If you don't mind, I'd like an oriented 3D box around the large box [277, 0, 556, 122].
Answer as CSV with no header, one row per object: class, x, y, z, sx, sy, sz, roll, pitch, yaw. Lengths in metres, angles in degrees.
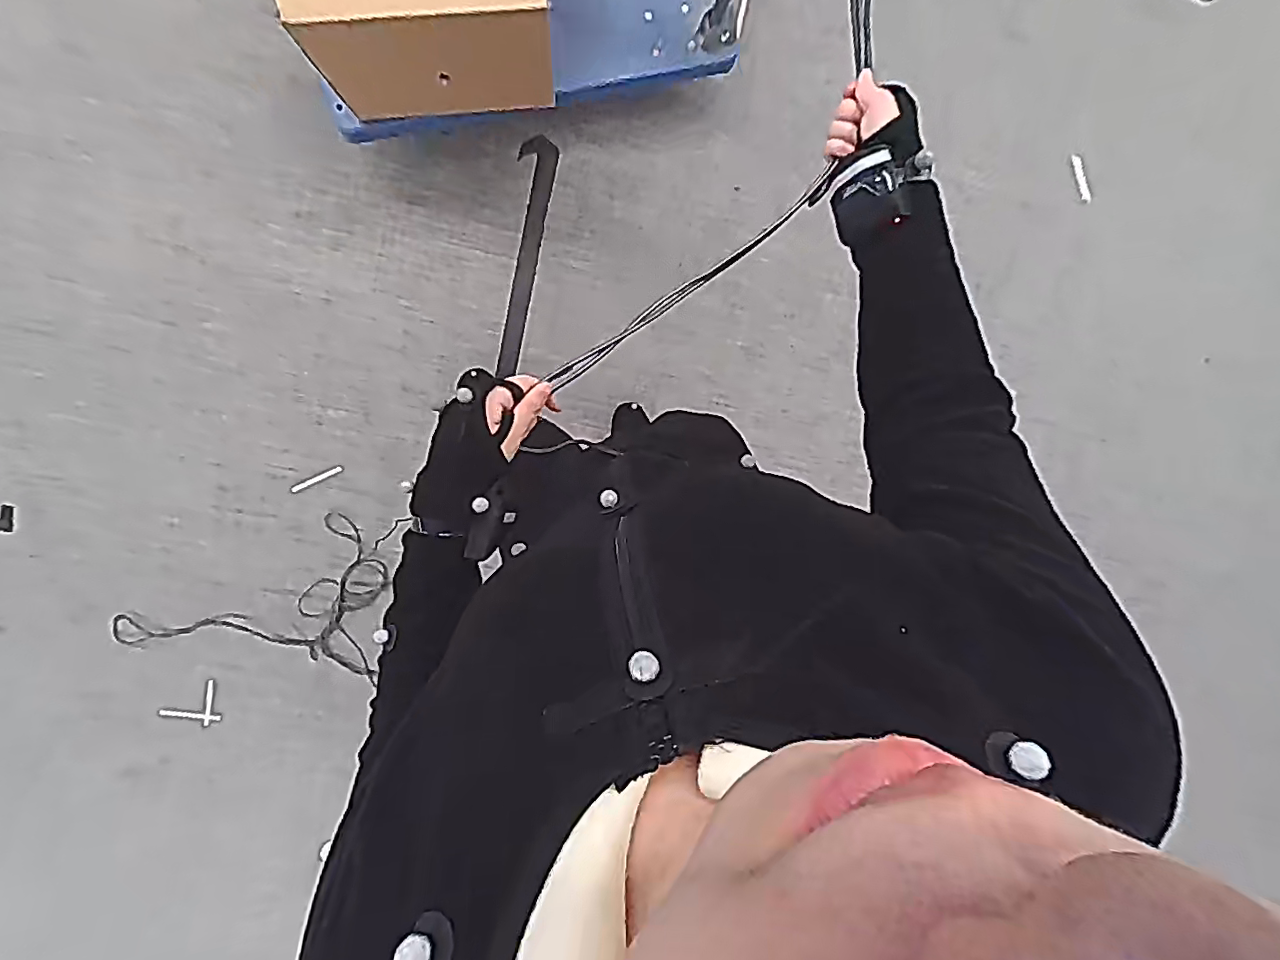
large box,-0.375,-0.876,0.945,0.408,0.320,0.320,-8,100,-5
